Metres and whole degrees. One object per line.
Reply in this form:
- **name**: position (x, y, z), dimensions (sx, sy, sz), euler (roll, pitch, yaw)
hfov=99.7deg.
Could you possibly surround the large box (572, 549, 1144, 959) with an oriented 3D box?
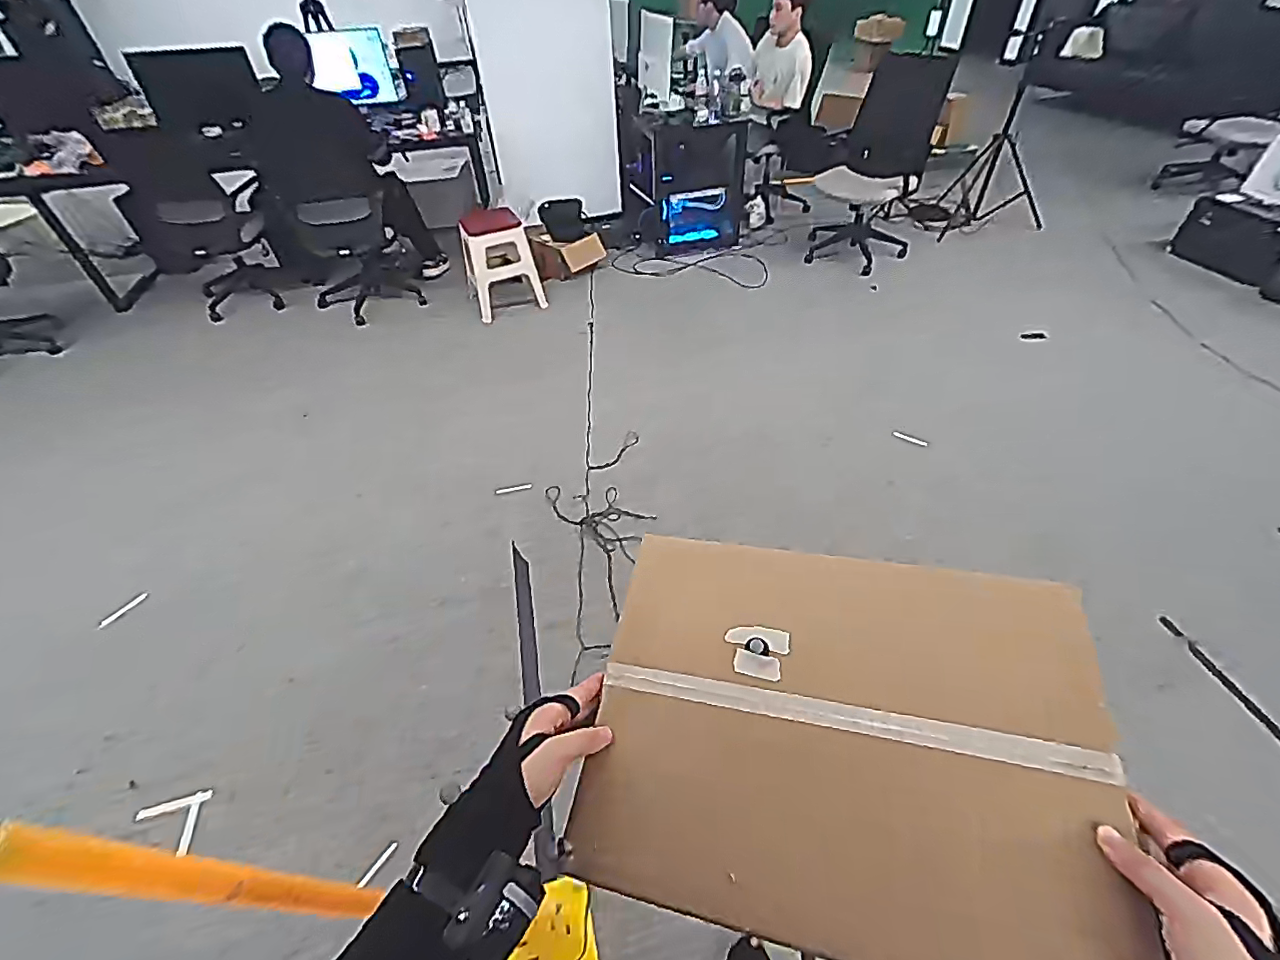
- **large box**: position (0.193, 0.299, 0.589), dimensions (0.408, 0.320, 0.320), euler (4, 53, 16)
